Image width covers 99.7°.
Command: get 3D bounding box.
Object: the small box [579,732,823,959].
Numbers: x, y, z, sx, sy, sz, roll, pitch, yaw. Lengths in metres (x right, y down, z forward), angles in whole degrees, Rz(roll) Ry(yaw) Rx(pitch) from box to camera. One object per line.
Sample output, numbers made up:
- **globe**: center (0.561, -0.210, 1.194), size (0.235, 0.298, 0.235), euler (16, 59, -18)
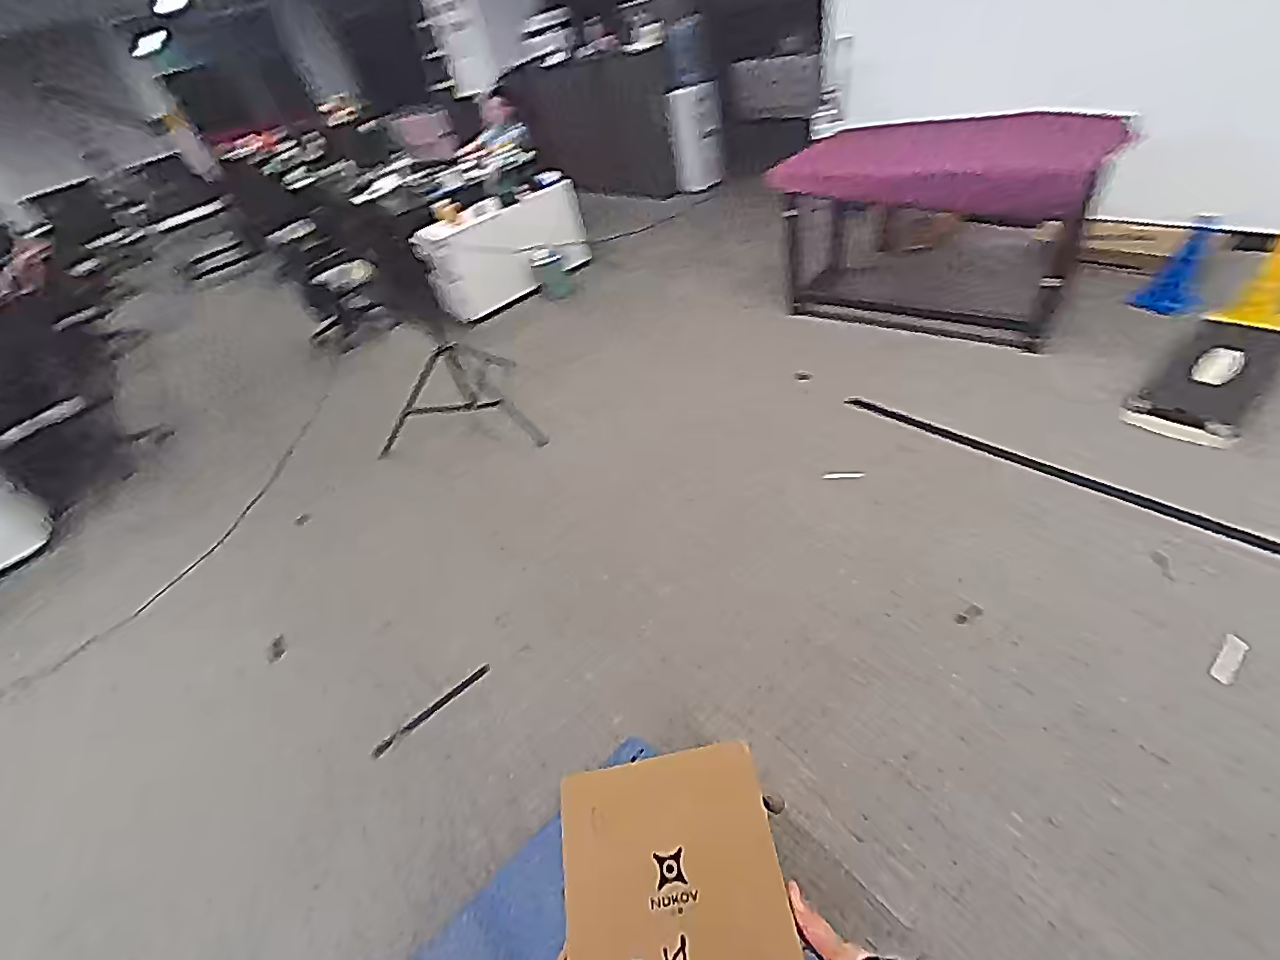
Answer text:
- **small box**: center (0.050, 0.343, 0.460), size (0.168, 0.176, 0.179), euler (-13, 48, 4)
